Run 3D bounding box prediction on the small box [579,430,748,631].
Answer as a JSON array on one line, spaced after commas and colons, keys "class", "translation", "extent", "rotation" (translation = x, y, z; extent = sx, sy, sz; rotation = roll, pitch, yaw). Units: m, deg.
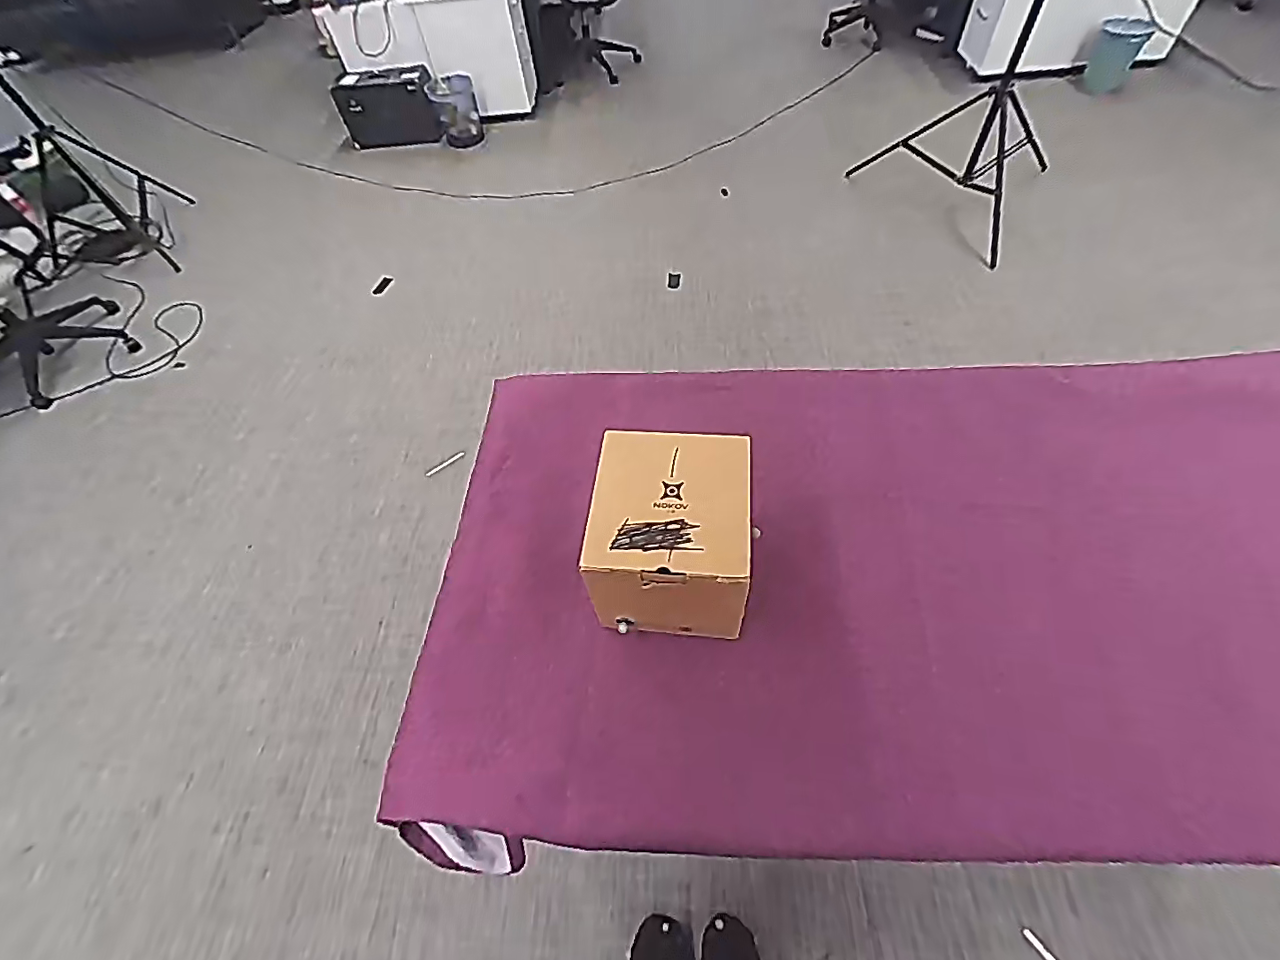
[{"class": "small box", "translation": [0.036, 0.063, 0.630], "extent": [0.168, 0.176, 0.179], "rotation": [3, 55, 7]}]
